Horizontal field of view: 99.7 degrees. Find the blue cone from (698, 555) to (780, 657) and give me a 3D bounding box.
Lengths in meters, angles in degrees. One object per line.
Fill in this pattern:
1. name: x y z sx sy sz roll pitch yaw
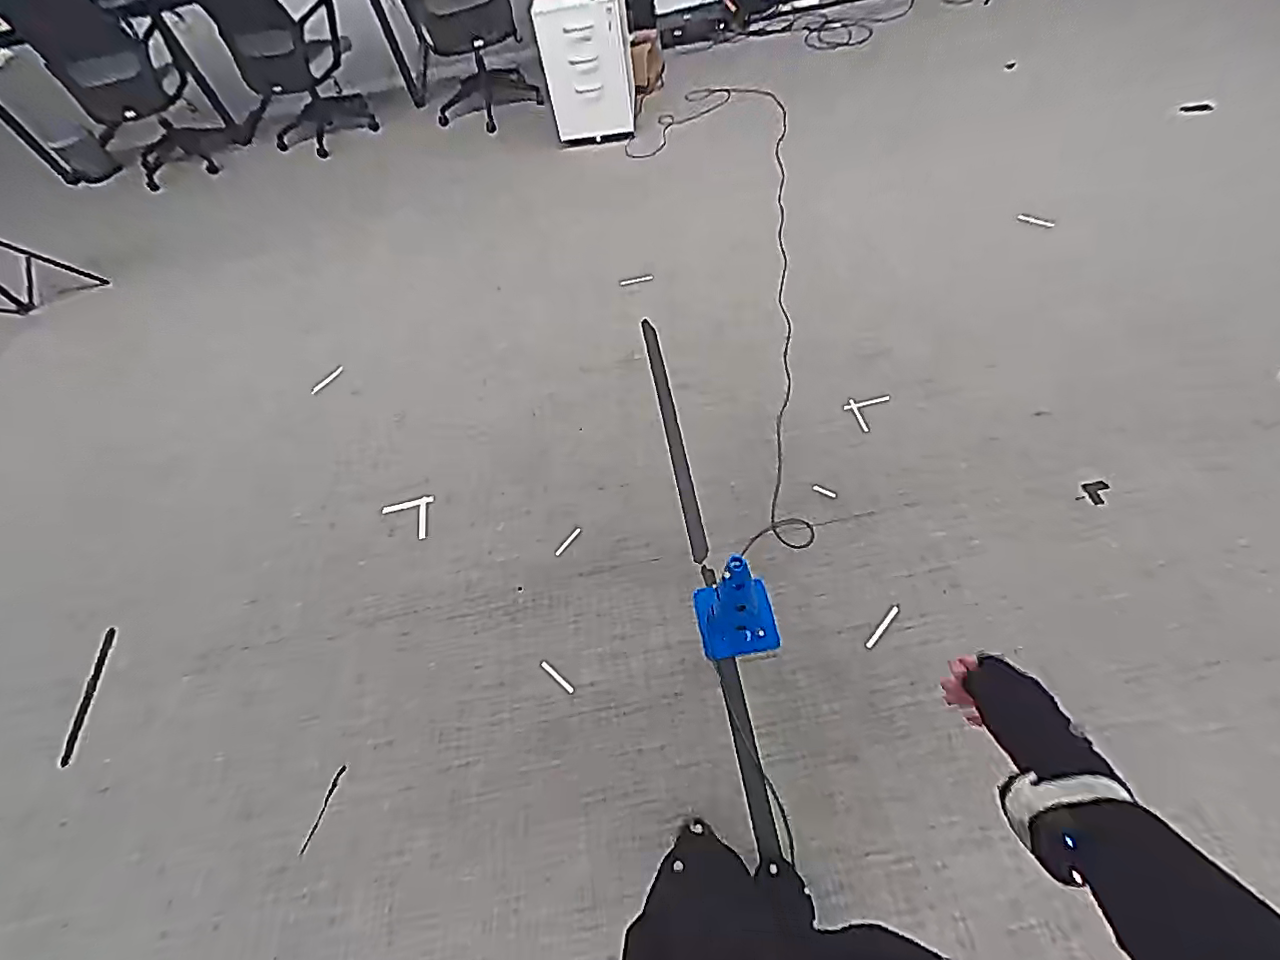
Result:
1. blue cone: 0.238 0.269 1.297 0.193 0.380 0.192 -12 56 0
